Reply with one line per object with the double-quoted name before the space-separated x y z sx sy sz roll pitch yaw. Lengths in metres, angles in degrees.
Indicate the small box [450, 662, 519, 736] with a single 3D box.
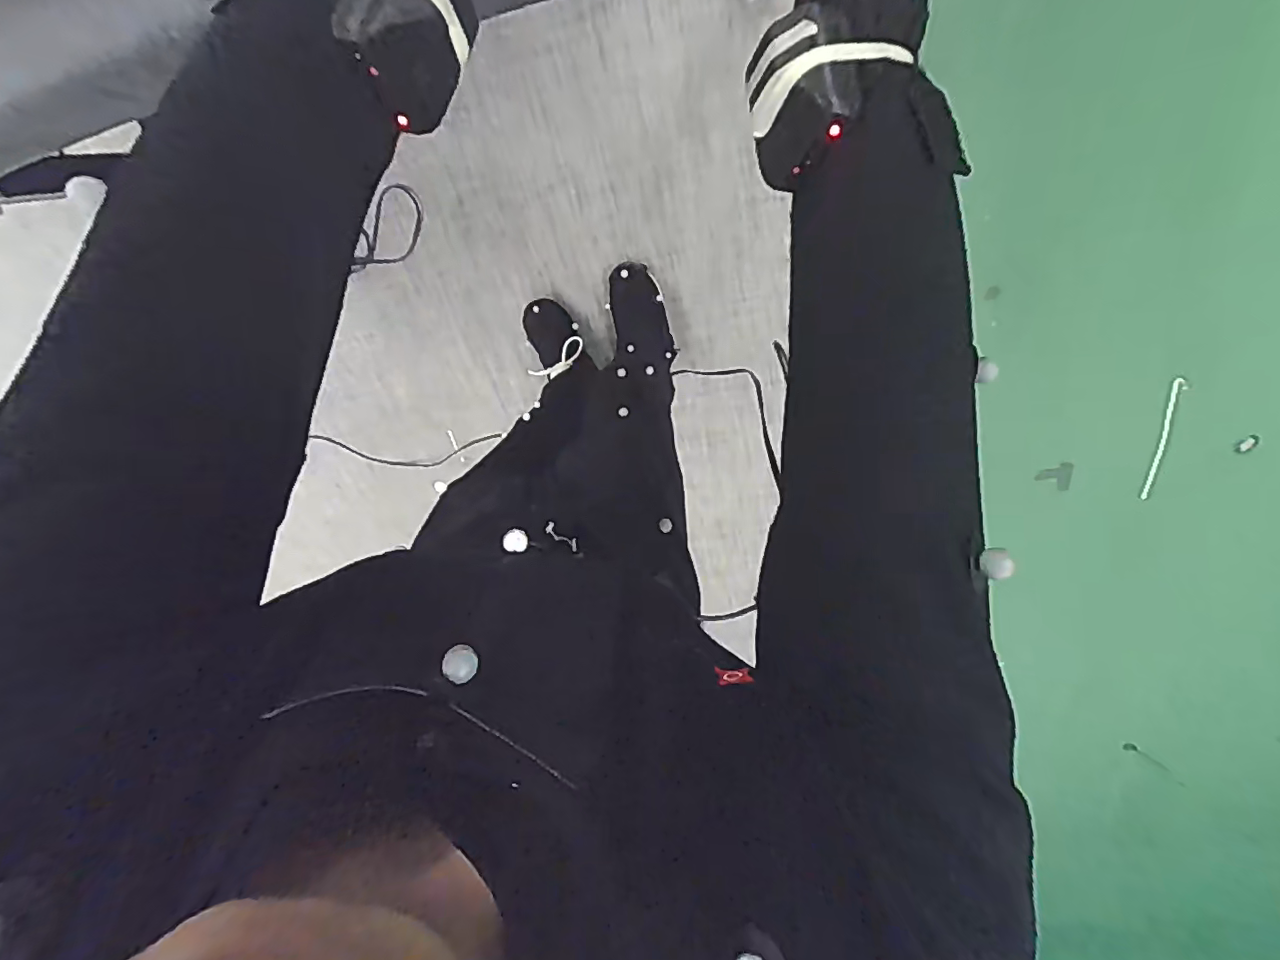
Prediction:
"small box" -0.529 0.748 1.860 0.179 0.176 0.168 5 124 2
